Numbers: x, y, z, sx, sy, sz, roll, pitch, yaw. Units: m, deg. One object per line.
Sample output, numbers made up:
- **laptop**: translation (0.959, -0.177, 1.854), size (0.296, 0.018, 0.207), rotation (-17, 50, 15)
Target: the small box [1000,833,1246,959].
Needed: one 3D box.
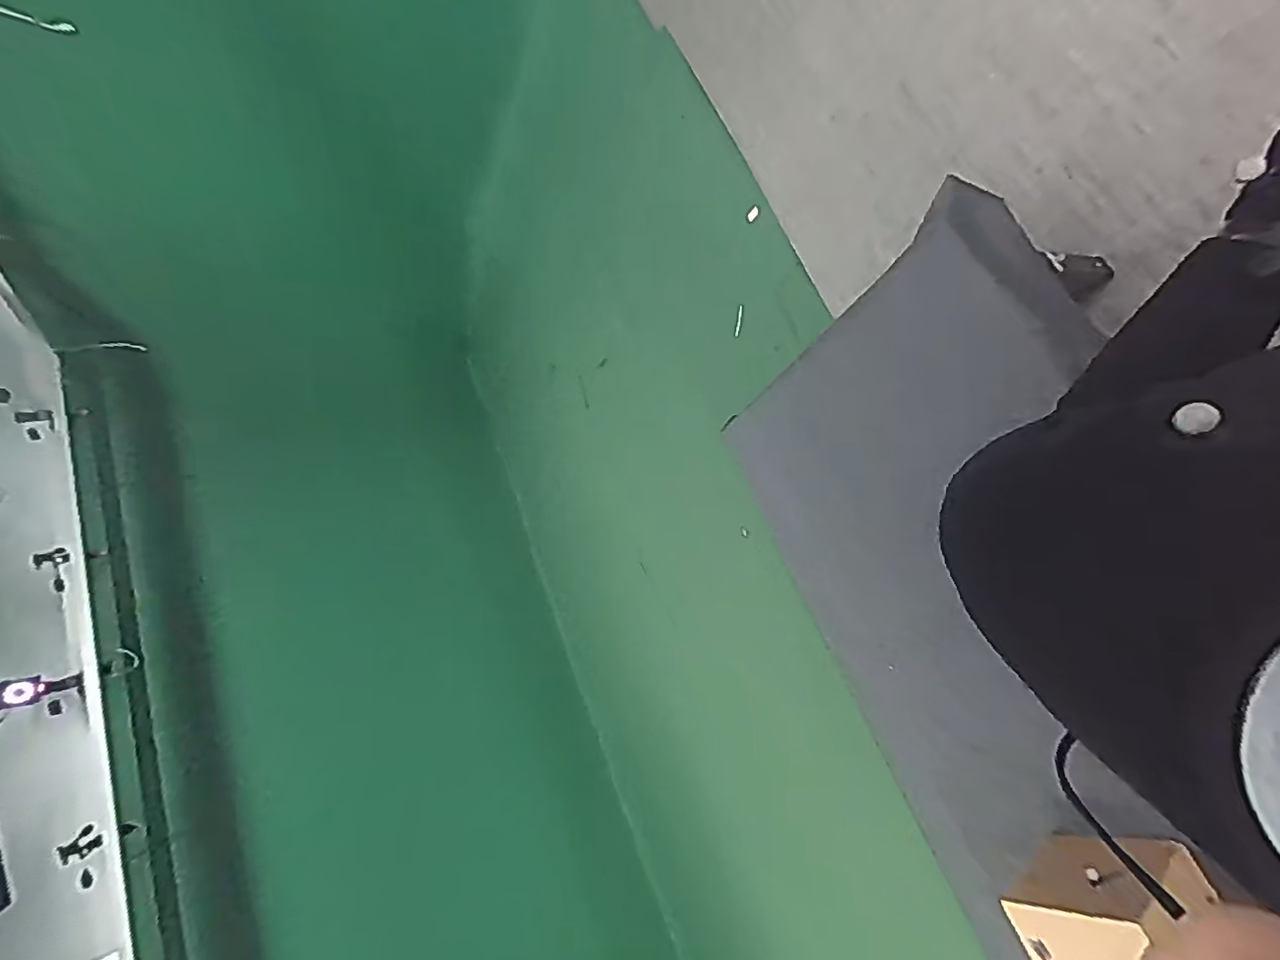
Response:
- **small box**: translation (0.630, 0.591, 0.704), size (0.179, 0.176, 0.168), rotation (-47, 62, 51)
